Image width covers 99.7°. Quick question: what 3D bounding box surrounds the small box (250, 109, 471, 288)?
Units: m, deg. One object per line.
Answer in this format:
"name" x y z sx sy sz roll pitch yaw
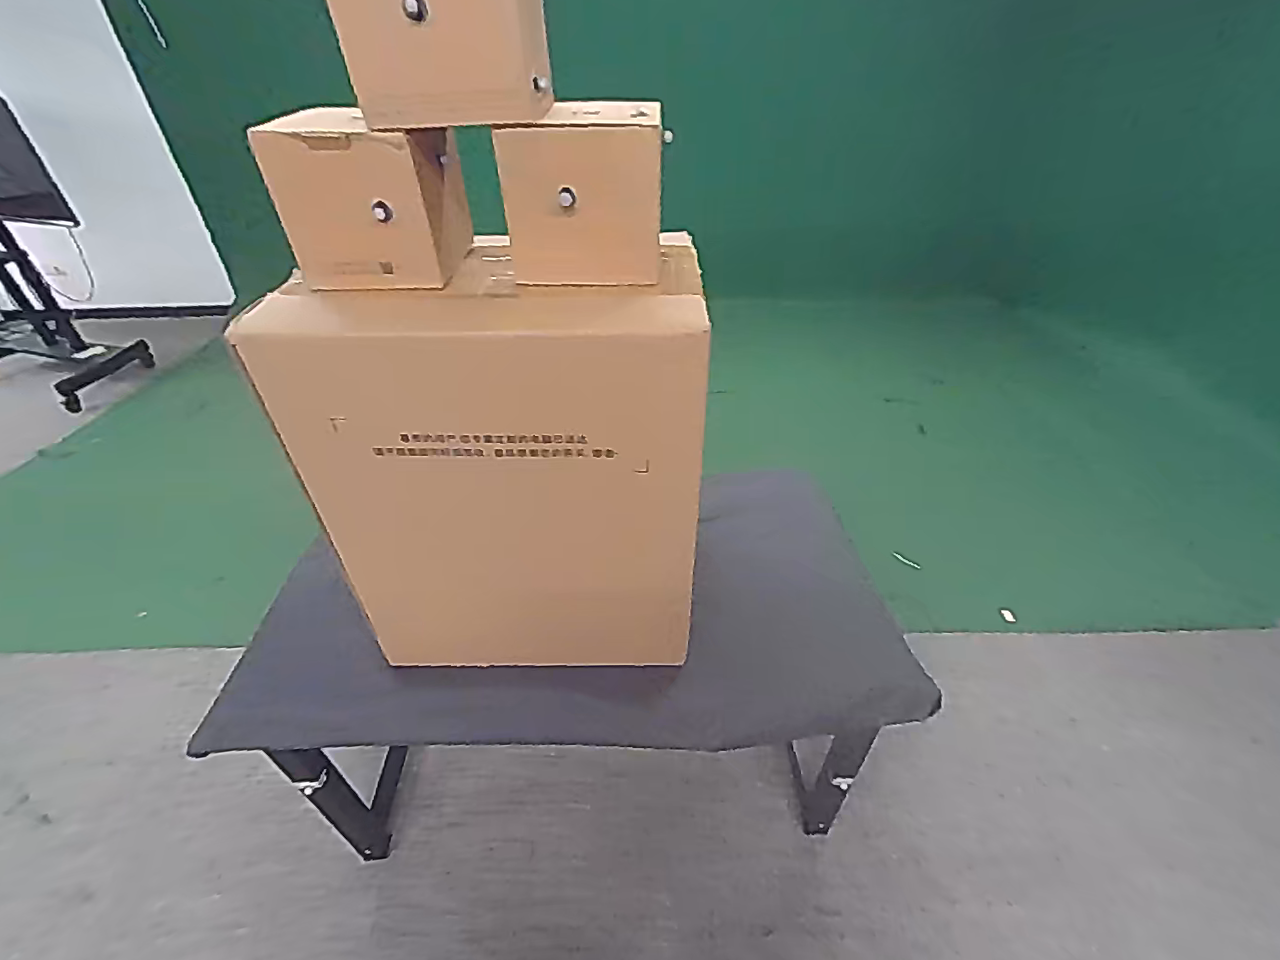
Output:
"small box" -0.320 -0.348 0.669 0.168 0.176 0.179 0 40 -1

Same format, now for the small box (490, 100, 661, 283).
"small box" -0.064 -0.352 0.665 0.179 0.176 0.168 0 42 2

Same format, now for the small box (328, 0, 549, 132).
"small box" -0.196 -0.474 0.558 0.179 0.176 0.168 -2 41 1
